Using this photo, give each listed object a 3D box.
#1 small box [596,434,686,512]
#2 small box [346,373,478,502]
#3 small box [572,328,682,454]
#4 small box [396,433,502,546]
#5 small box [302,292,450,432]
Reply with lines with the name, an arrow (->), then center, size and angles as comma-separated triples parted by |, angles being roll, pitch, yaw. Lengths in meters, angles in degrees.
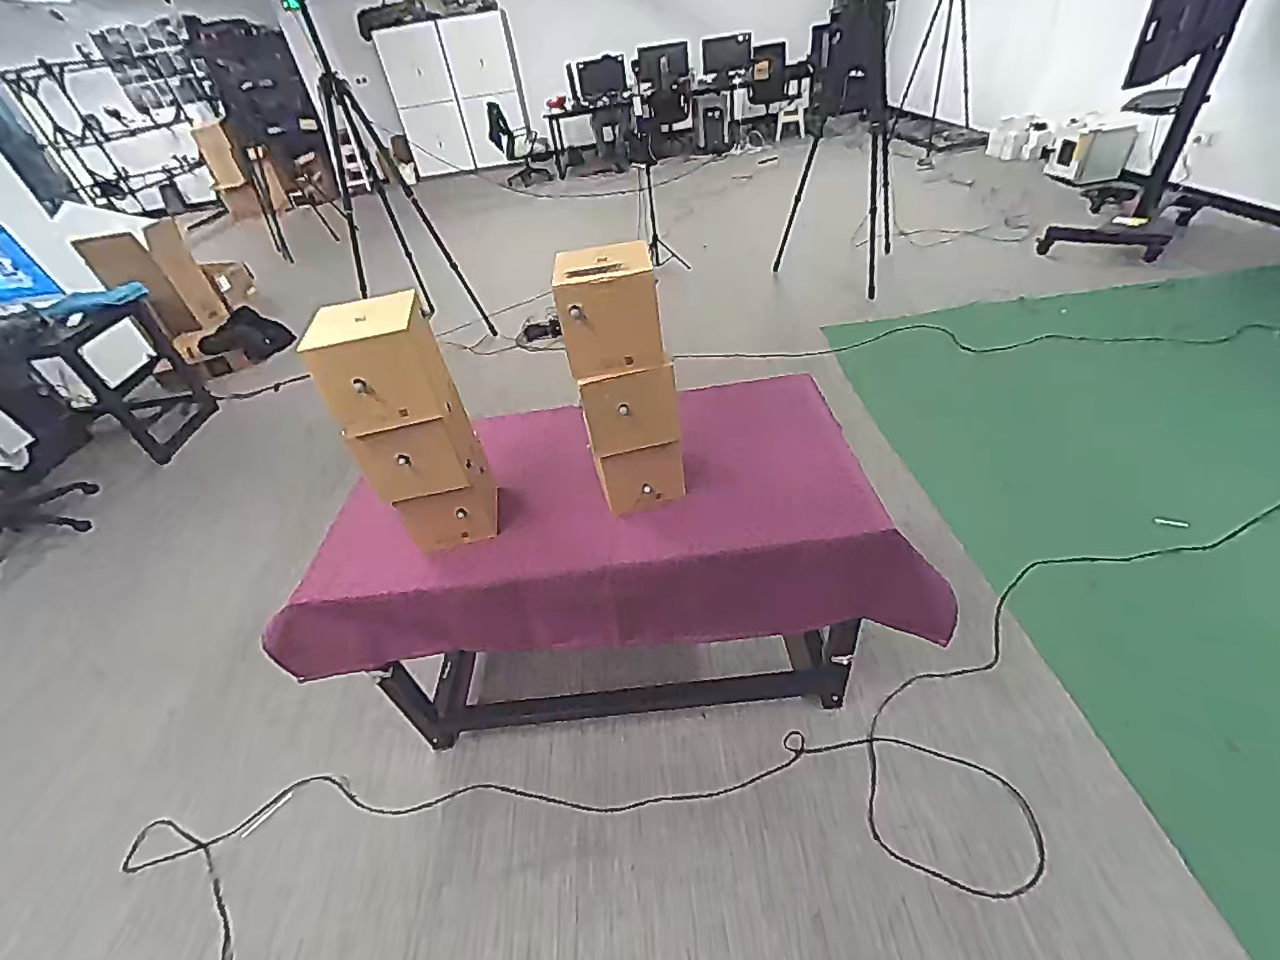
small box -> -0.007, -0.059, 1.178 | 0.168, 0.176, 0.179 | -16, 40, -6
small box -> -0.426, -0.081, 1.046 | 0.179, 0.176, 0.168 | -12, 40, -2
small box -> -0.025, -0.171, 1.058 | 0.179, 0.176, 0.168 | -13, 40, -3
small box -> -0.403, 0.026, 1.171 | 0.168, 0.176, 0.179 | -11, 39, -2
small box -> -0.438, -0.198, 0.933 | 0.168, 0.176, 0.179 | -14, 40, -5
